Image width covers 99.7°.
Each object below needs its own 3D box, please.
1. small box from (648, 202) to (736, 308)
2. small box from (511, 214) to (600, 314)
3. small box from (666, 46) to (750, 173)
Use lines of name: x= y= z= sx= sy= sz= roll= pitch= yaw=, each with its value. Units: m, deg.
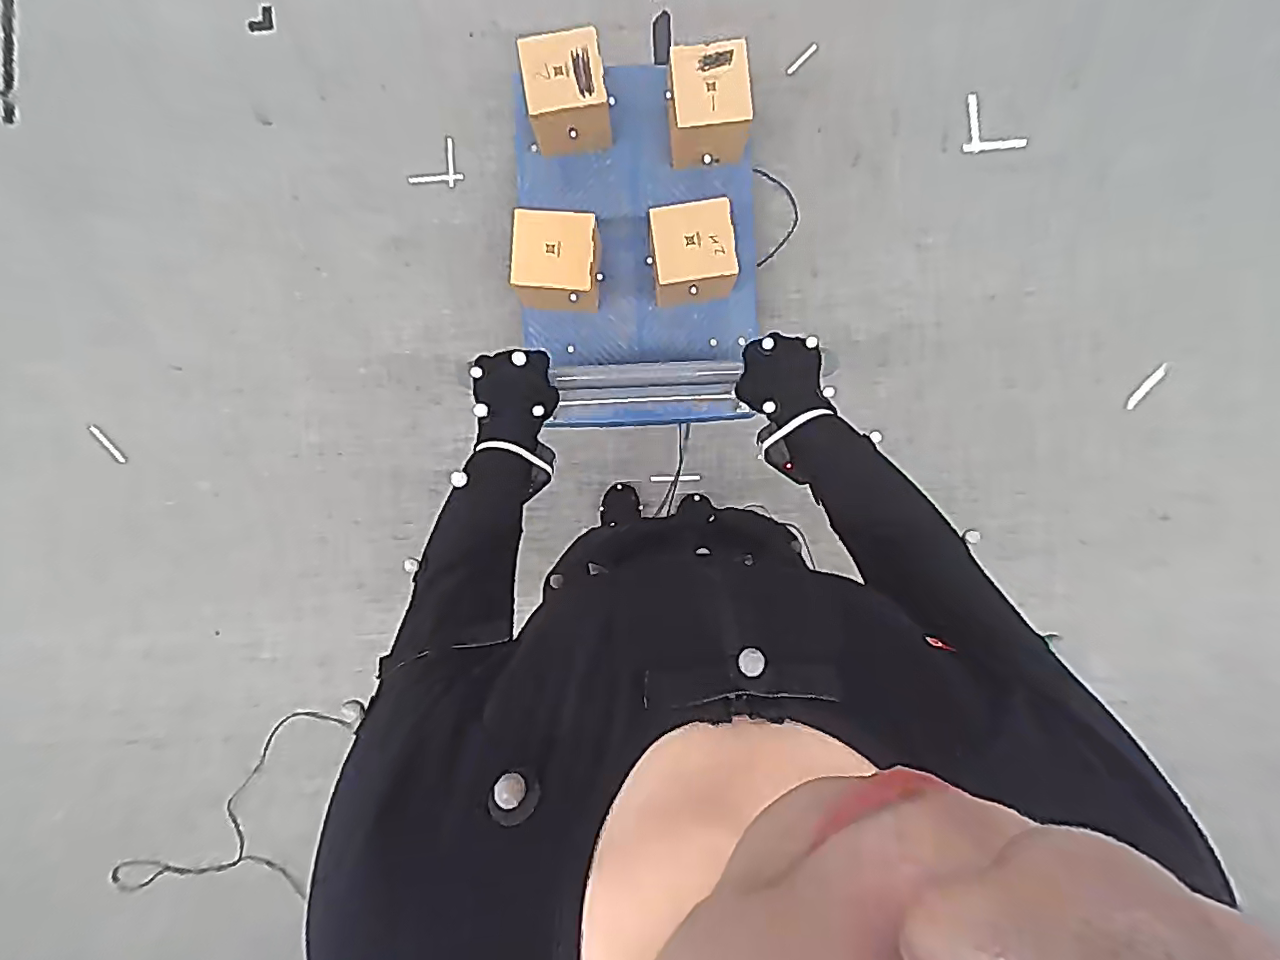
small box: x=0.116 y=-0.511 z=1.253 sx=0.179 sy=0.176 sz=0.168 roll=-8 pitch=90 yaw=1
small box: x=-0.189 y=-0.495 z=1.258 sx=0.179 sy=0.176 sz=0.168 roll=3 pitch=90 yaw=-1
small box: x=0.152 y=-0.847 z=1.250 sx=0.168 sy=0.176 sz=0.179 roll=-6 pitch=91 yaw=1
